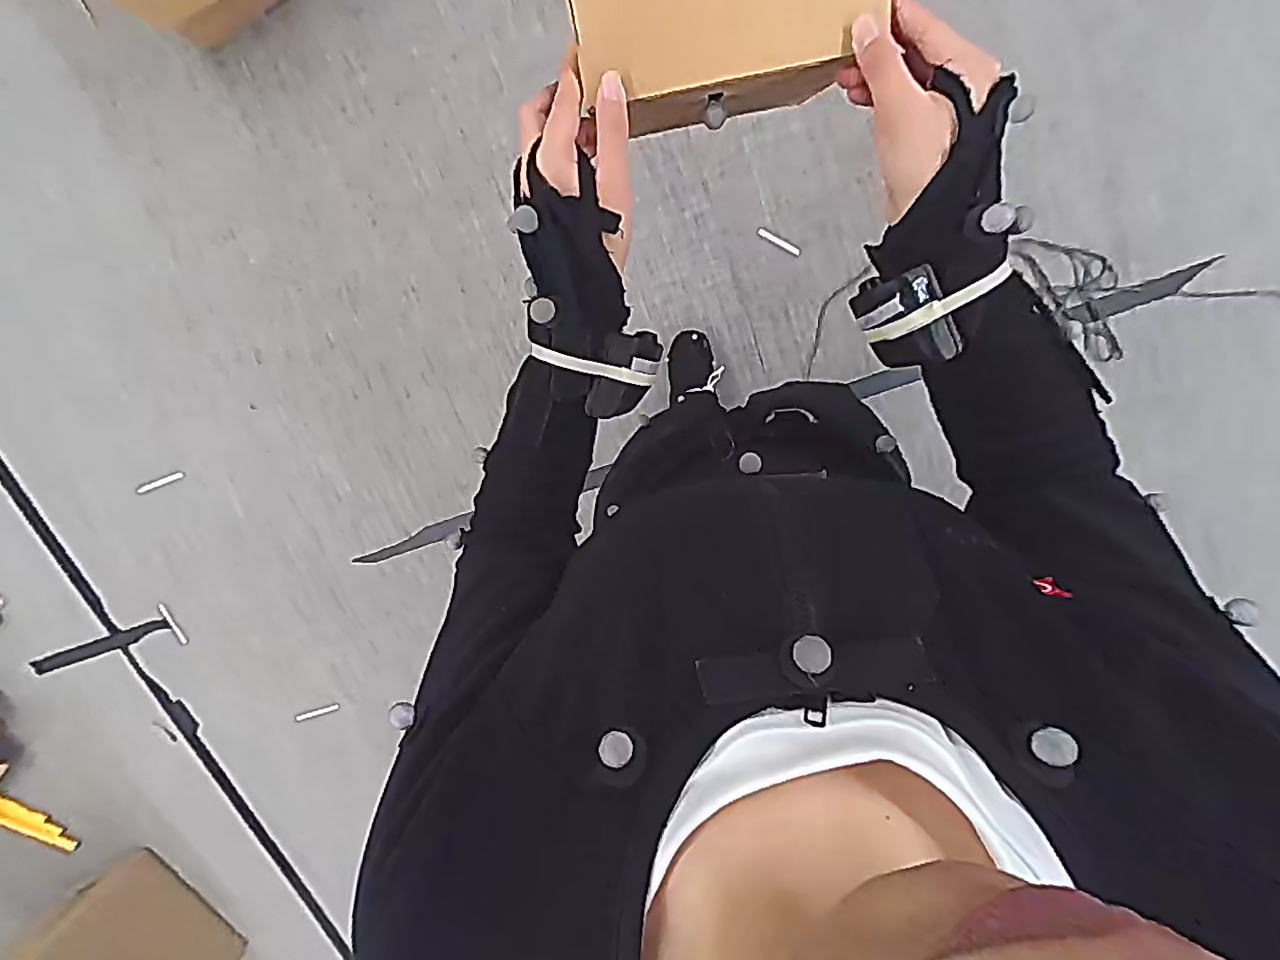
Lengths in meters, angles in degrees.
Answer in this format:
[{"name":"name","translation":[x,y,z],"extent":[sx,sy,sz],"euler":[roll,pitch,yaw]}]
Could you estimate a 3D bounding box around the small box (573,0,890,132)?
[{"name":"small box","translation":[0.043,-0.342,0.348],"extent":[0.179,0.176,0.168],"euler":[-8,116,5]}]
